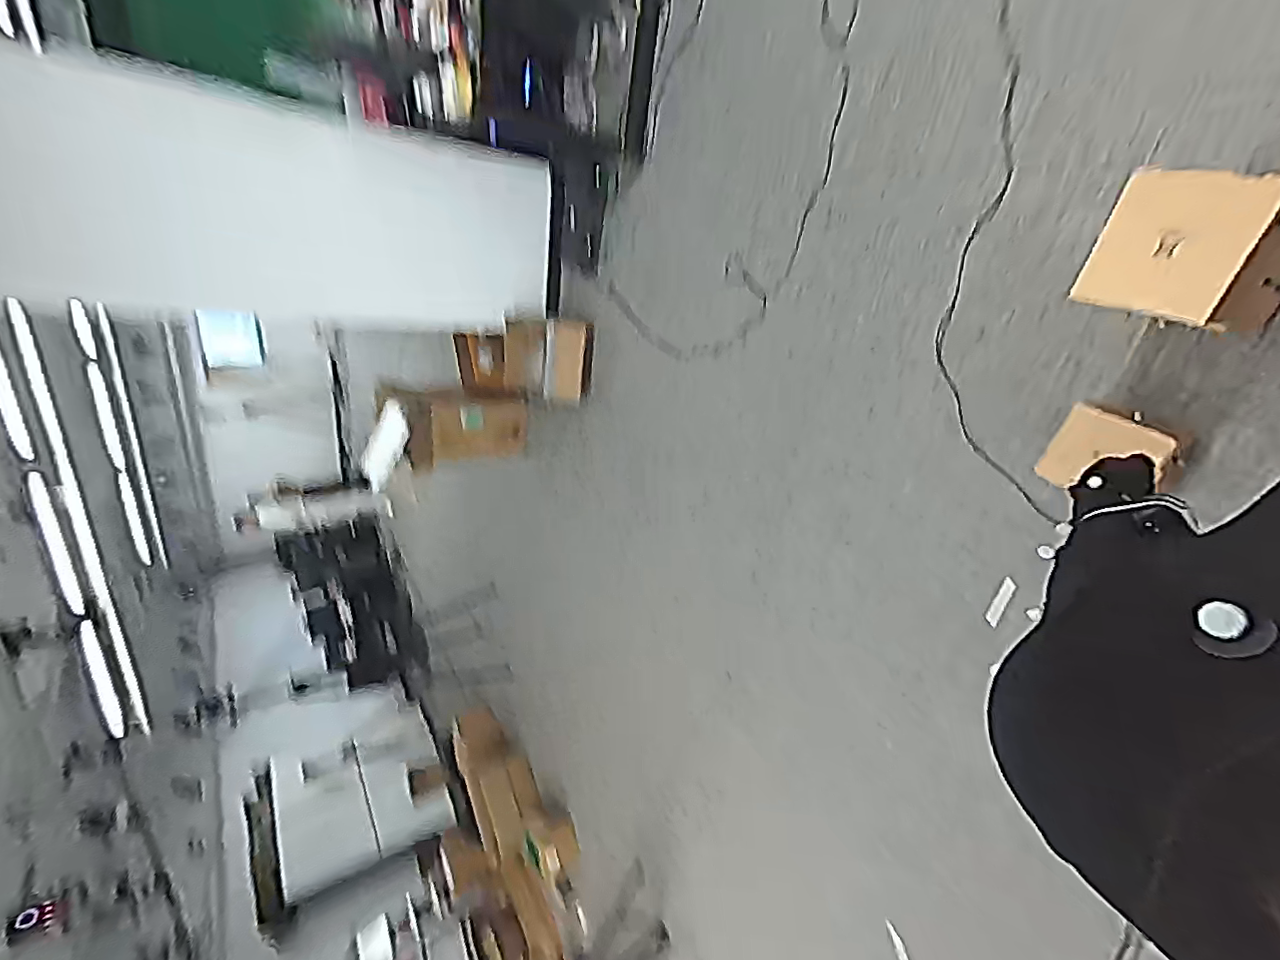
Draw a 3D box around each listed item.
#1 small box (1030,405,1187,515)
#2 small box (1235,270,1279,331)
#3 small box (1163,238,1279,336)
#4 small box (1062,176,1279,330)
[{"bbox_3d":[0.980,-0.052,1.132,0.179,0.176,0.168,43,130,41],"label":"small box"},{"bbox_3d":[1.040,-0.374,0.974,0.168,0.176,0.179,39,128,43],"label":"small box"},{"bbox_3d":[0.906,-0.342,0.881,0.168,0.176,0.179,41,128,42],"label":"small box"},{"bbox_3d":[0.775,-0.324,0.786,0.168,0.176,0.179,39,127,44],"label":"small box"}]
